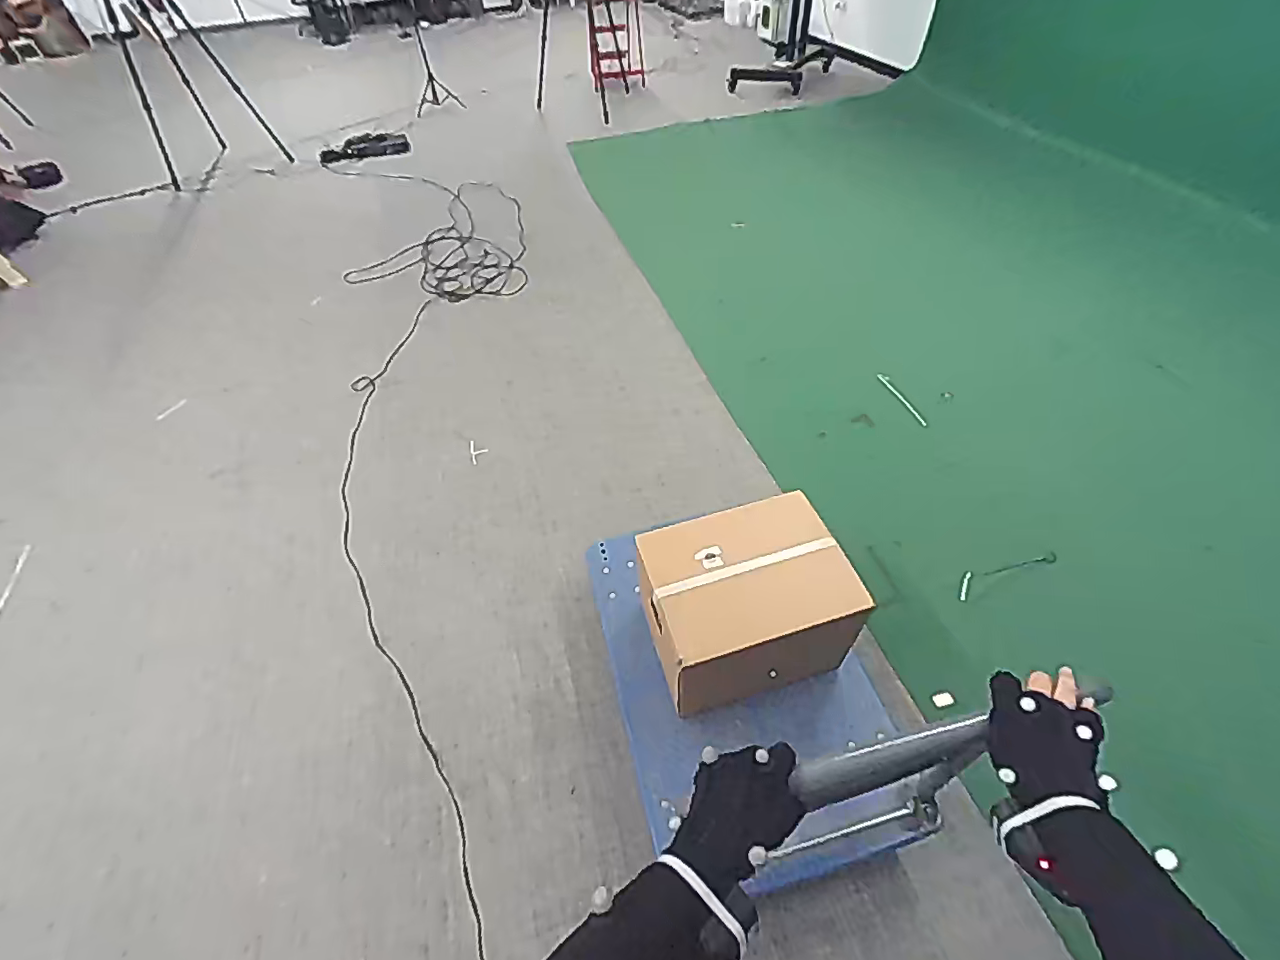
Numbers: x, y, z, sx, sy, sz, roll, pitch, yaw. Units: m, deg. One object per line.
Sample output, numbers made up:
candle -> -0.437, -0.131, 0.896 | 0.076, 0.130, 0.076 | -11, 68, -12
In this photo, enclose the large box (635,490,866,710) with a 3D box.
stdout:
large box -> 0.232, 0.280, 1.252 | 0.408, 0.320, 0.320 | -16, 50, -8
